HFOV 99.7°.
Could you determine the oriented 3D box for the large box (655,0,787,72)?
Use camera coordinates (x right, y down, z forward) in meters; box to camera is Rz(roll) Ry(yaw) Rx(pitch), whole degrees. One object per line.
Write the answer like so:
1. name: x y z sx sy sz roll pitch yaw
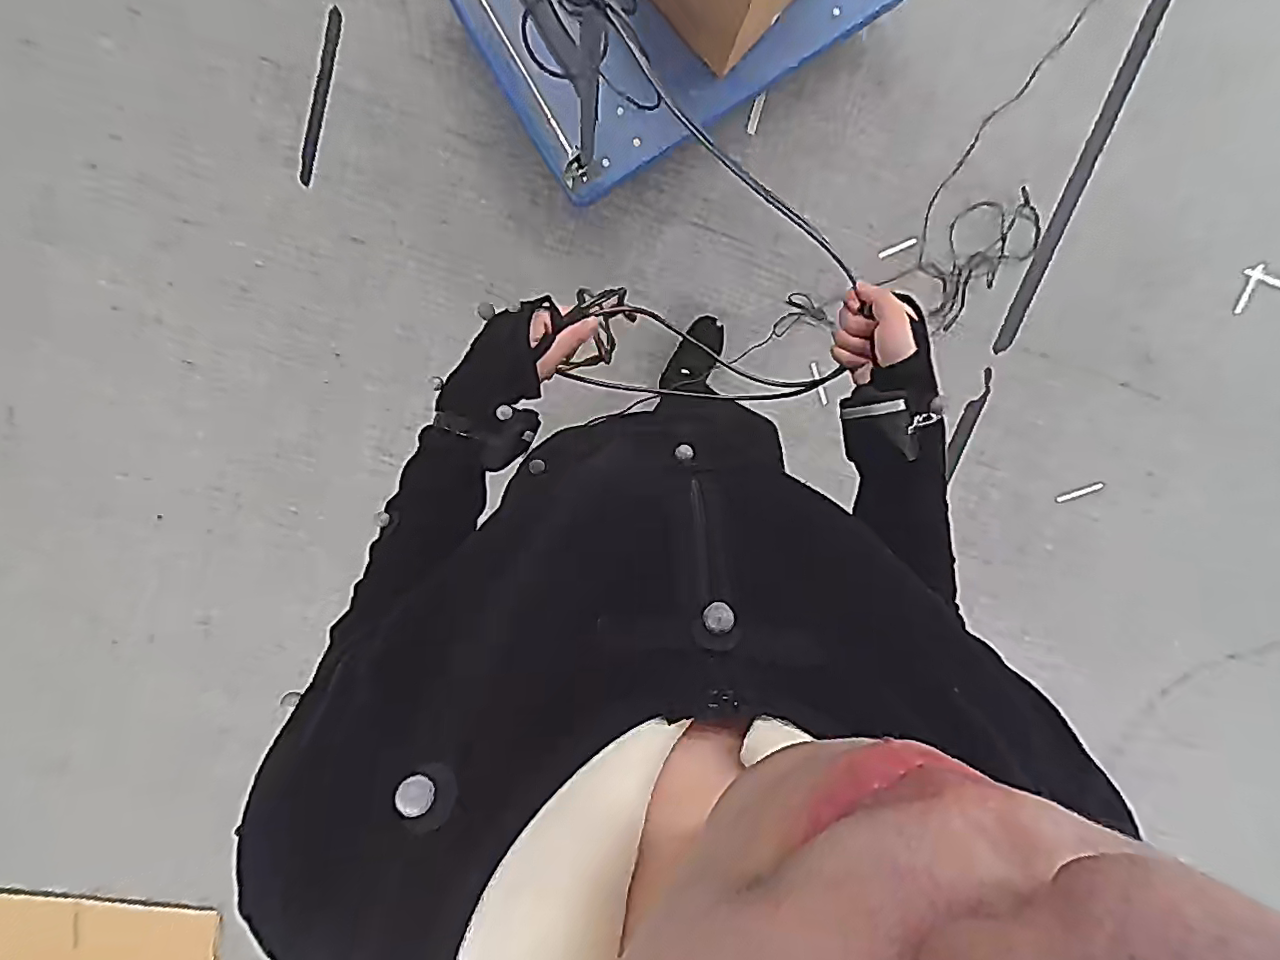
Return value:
1. large box: 0.141 -1.067 0.952 0.408 0.320 0.320 43 97 -12
